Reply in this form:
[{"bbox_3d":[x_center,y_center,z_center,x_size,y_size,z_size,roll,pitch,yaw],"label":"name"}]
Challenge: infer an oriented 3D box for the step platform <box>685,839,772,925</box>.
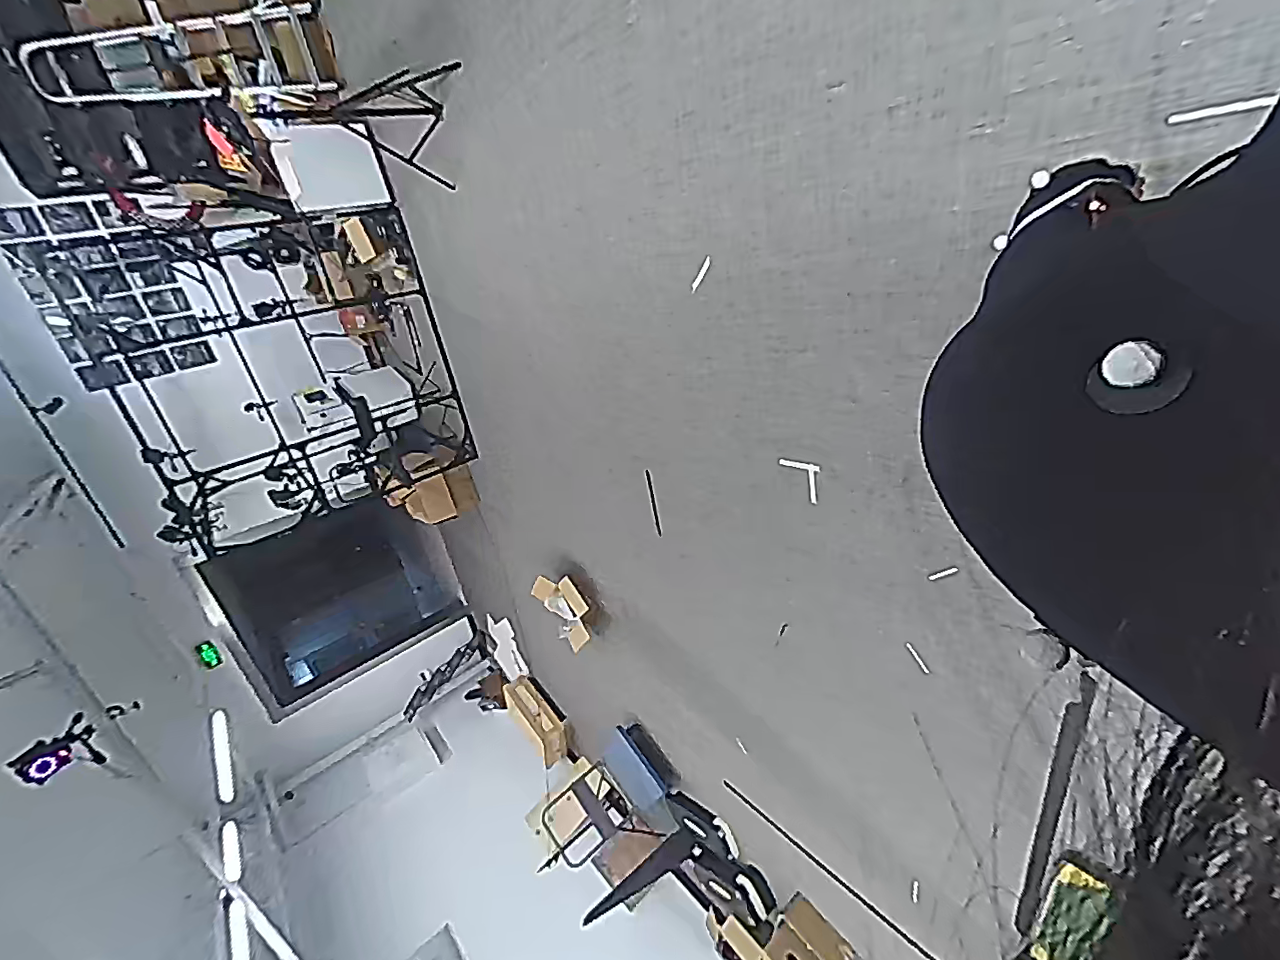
[{"bbox_3d":[0.605,2.834,3.831,0.684,0.204,0.286,-26,91,57],"label":"step platform"}]
